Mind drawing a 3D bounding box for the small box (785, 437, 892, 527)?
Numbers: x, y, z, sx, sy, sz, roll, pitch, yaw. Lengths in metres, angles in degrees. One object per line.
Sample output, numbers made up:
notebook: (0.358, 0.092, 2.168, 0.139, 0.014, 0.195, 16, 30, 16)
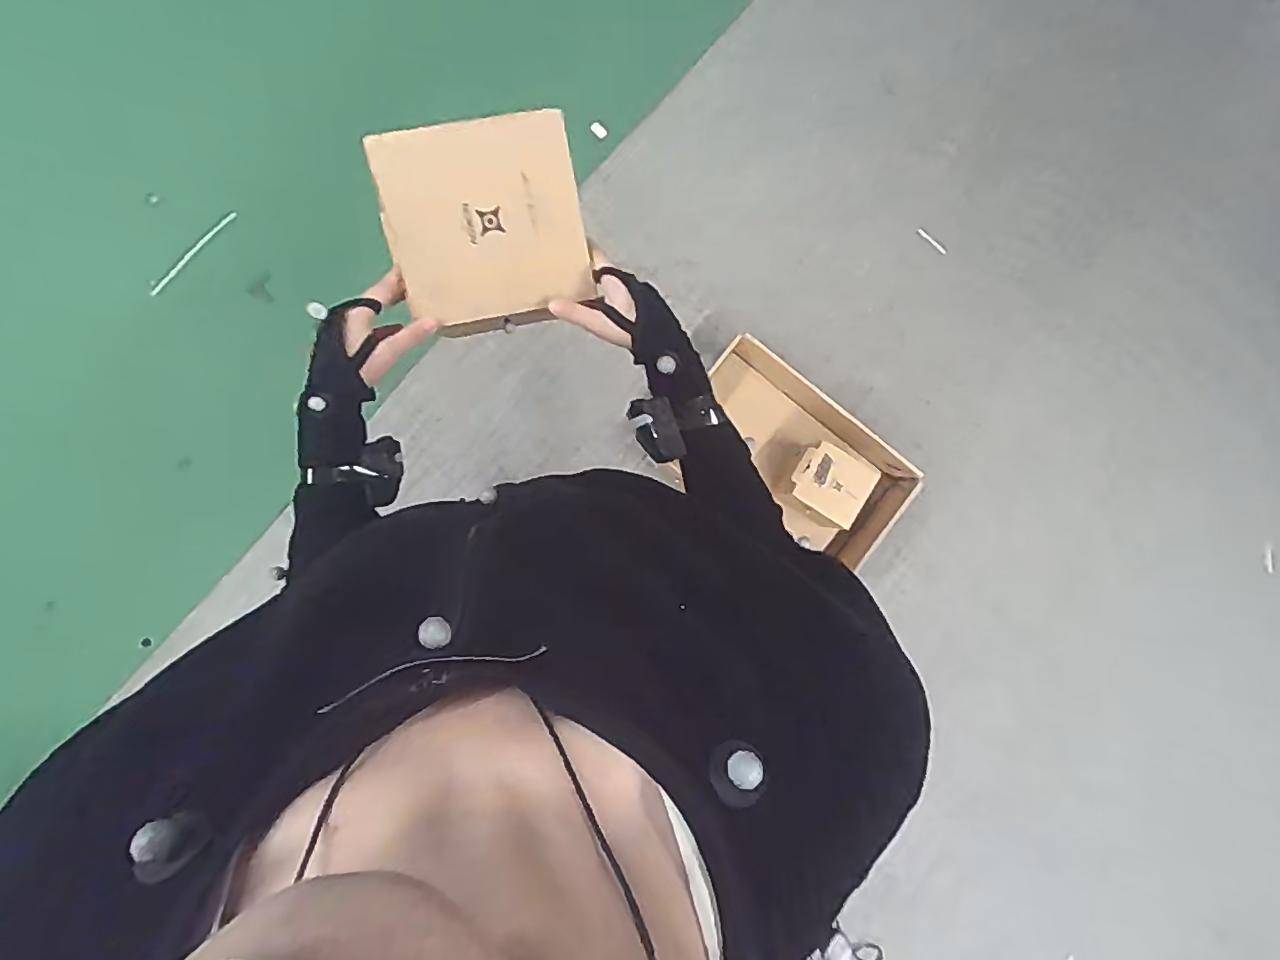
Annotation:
small box: (0.511, 0.010, 1.422, 0.179, 0.176, 0.168, 32, 88, -1)

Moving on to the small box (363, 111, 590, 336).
small box: (-0.153, -0.252, 0.573, 0.179, 0.176, 0.168, -12, 104, -4)
